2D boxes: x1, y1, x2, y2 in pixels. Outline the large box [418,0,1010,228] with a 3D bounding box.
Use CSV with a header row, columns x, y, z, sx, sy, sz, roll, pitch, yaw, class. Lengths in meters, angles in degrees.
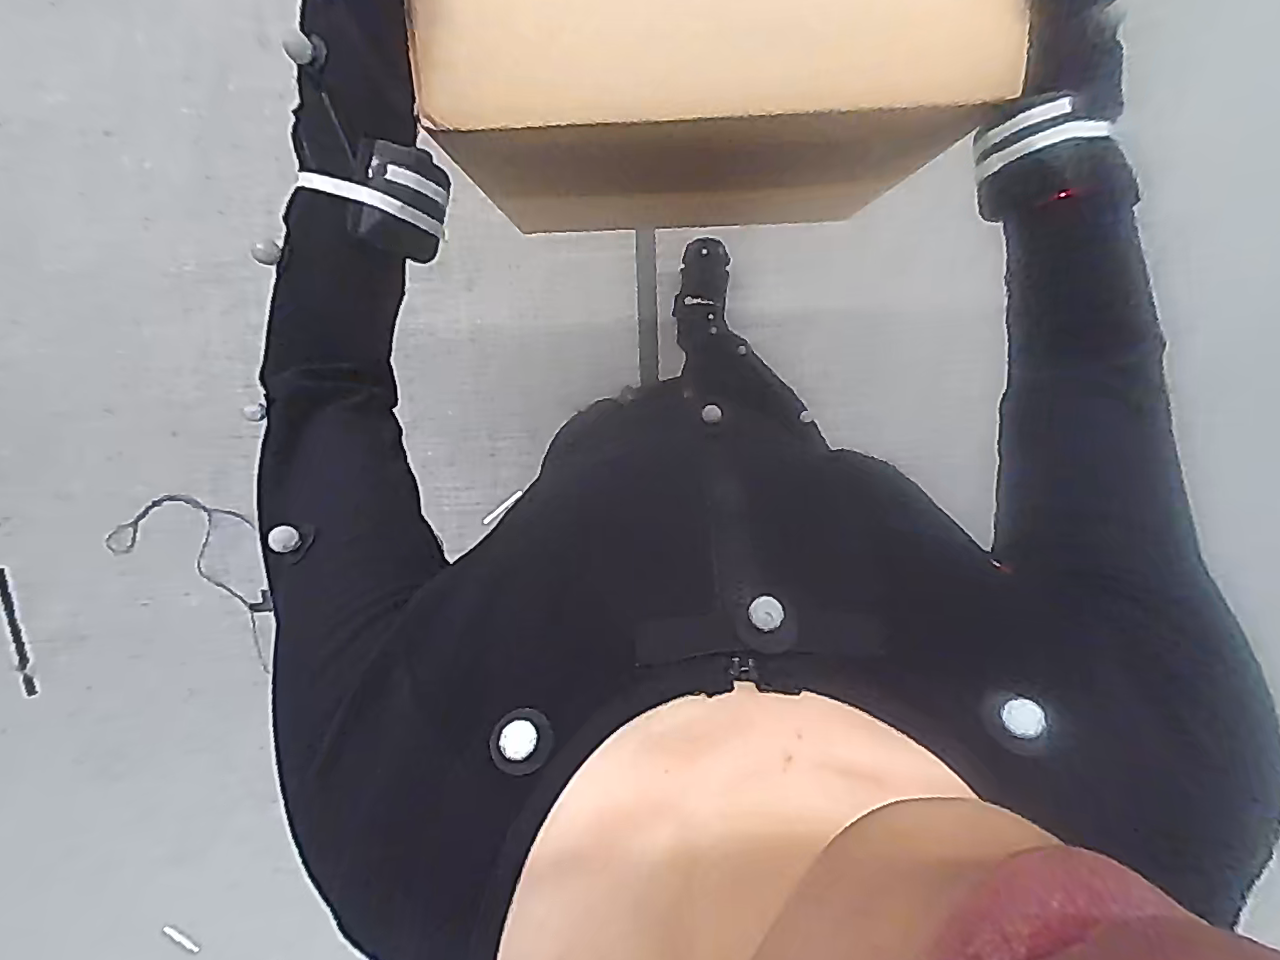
x,y,z,sx,sy,sz,roll,pitch,yaw,class
0.043,-0.440,0.488,0.408,0.320,0.320,-3,102,1,large box
